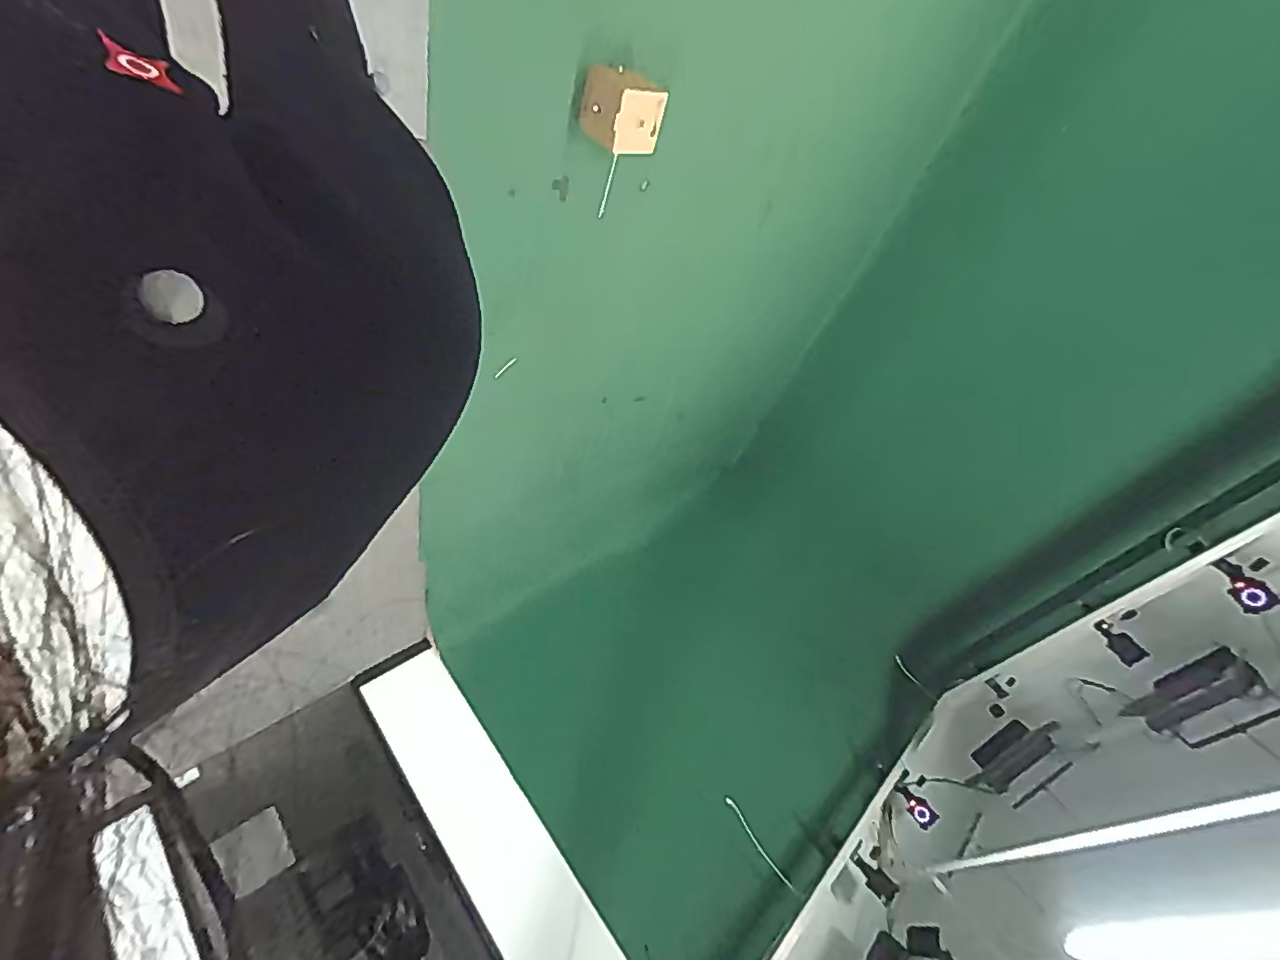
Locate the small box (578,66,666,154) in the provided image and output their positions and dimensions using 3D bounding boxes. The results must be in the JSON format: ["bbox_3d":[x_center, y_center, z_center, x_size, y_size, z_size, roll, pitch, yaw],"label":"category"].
[{"bbox_3d":[-0.059,-1.093,1.598,0.179,0.176,0.168,-24,152,-36],"label":"small box"}]
